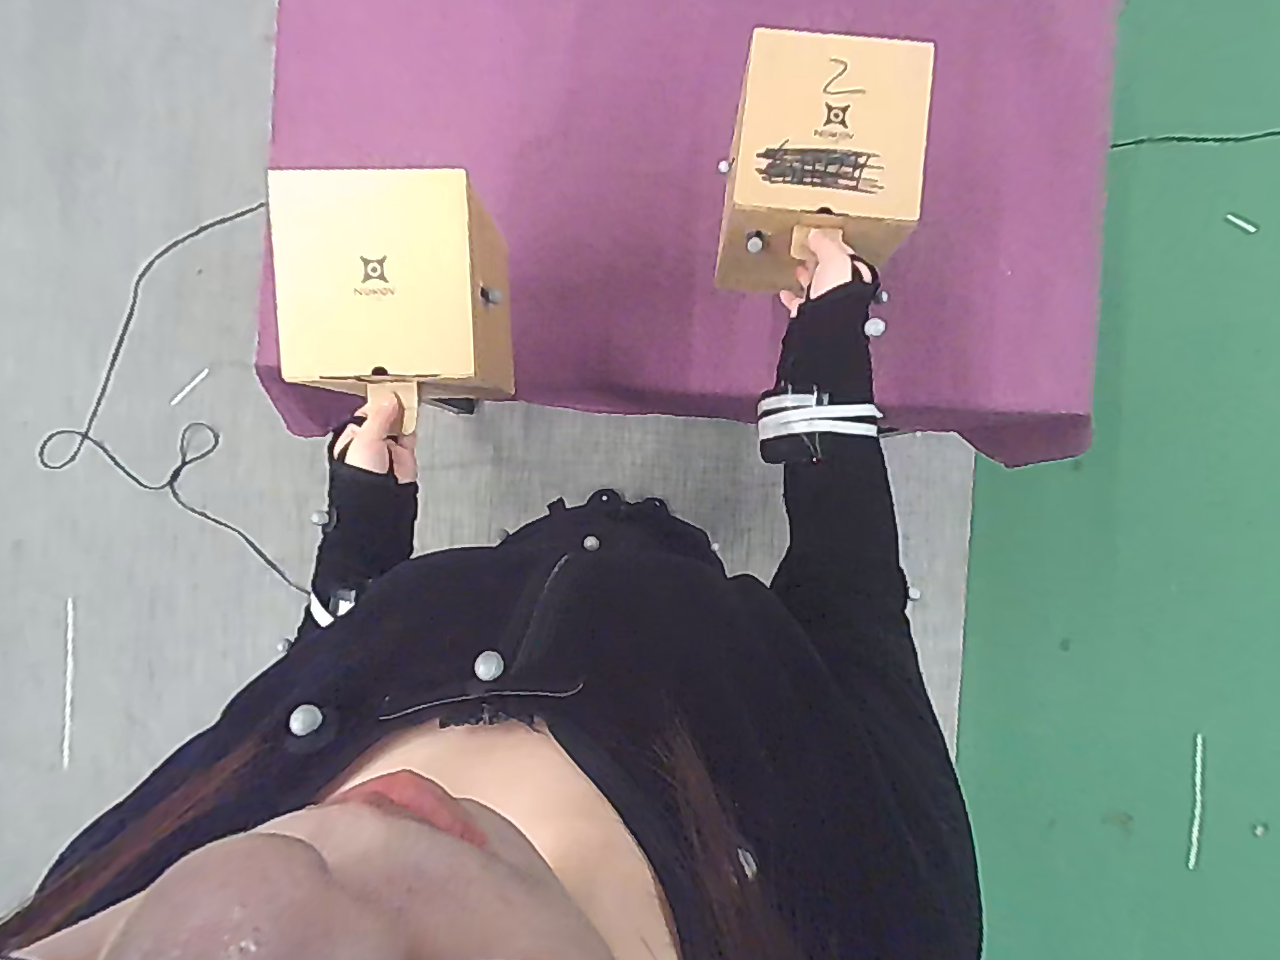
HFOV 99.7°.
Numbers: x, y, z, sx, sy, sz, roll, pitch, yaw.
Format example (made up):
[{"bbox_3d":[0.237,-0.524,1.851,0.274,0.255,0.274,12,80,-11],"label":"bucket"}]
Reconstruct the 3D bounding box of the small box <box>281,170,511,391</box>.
[{"bbox_3d":[-0.231,-0.187,0.554,0.168,0.176,0.179,-1,95,-2],"label":"small box"}]
